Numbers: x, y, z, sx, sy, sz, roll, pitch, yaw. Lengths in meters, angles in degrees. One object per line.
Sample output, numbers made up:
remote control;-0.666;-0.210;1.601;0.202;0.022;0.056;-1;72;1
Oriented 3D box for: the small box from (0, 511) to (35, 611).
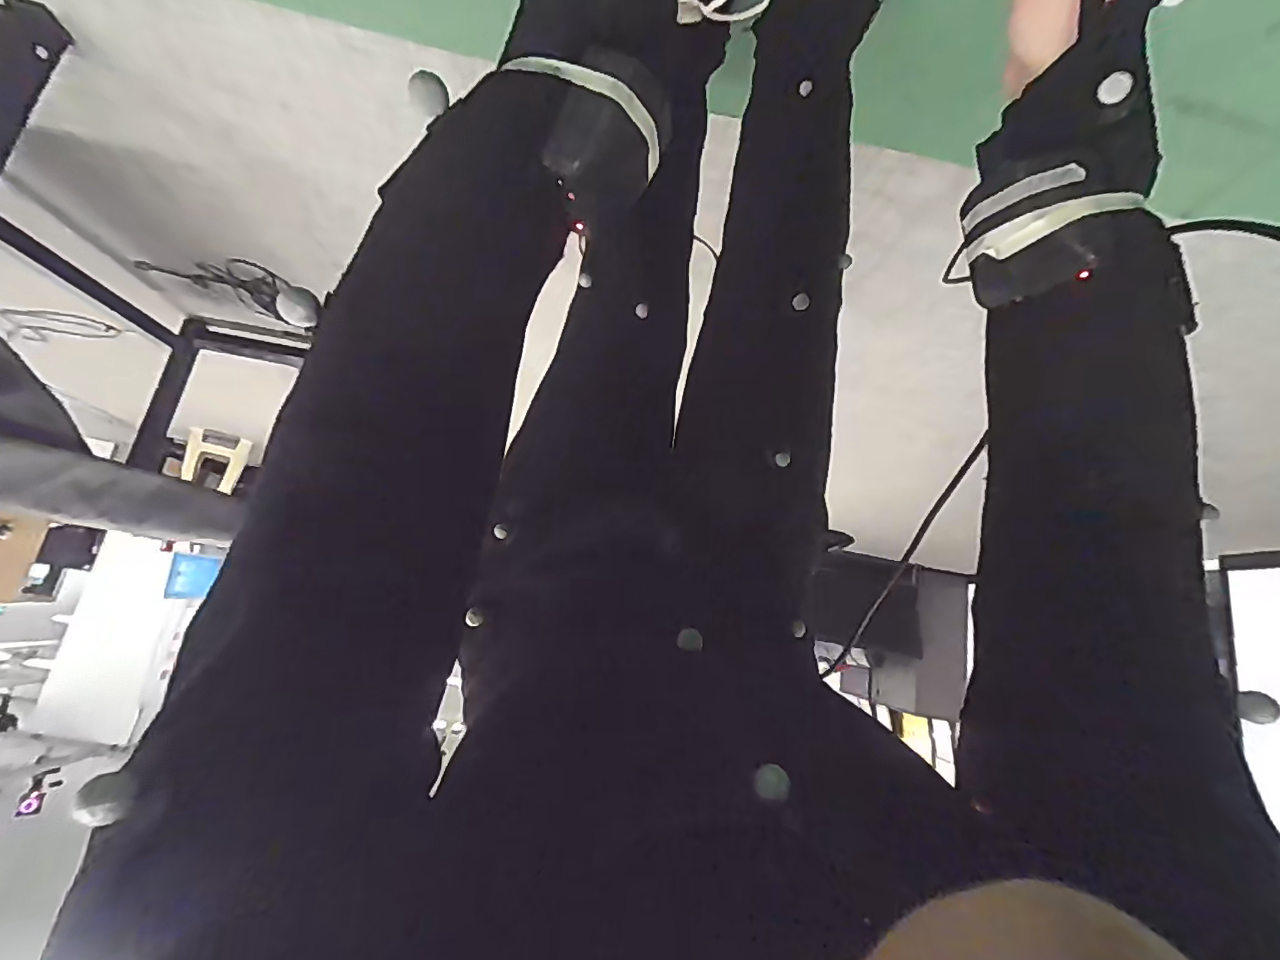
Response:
small box;-1.179;0.117;0.887;0.179;0.176;0.168;8;167;3
